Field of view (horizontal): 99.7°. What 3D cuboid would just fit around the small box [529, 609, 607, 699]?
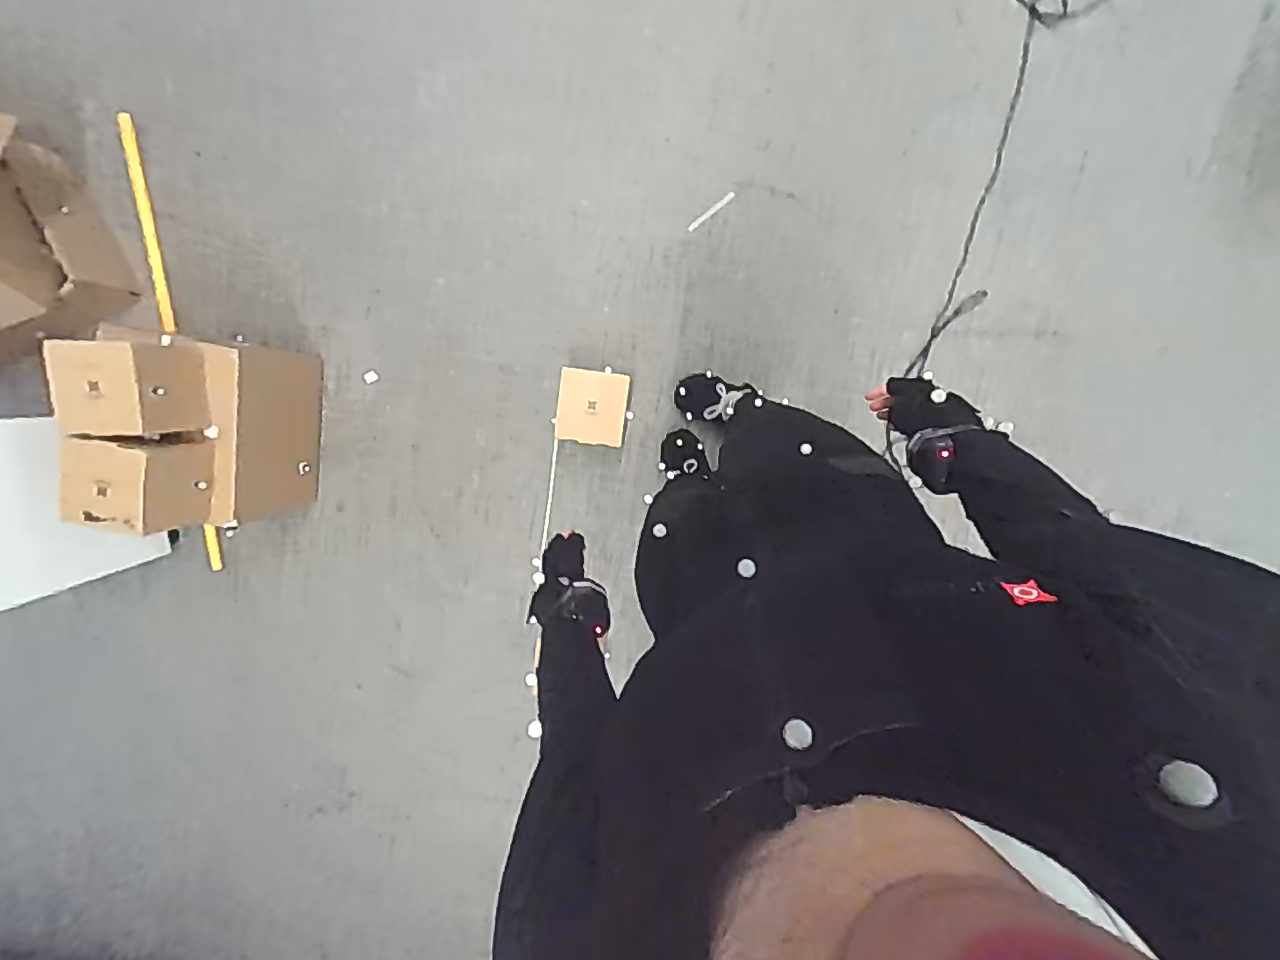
[{"bbox_3d":[-0.193,0.470,1.485,0.179,0.176,0.168,8,101,0],"label":"small box"}]

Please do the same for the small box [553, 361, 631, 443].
[{"bbox_3d":[-0.115,-0.199,1.361,0.168,0.176,0.179,8,101,0],"label":"small box"}]
